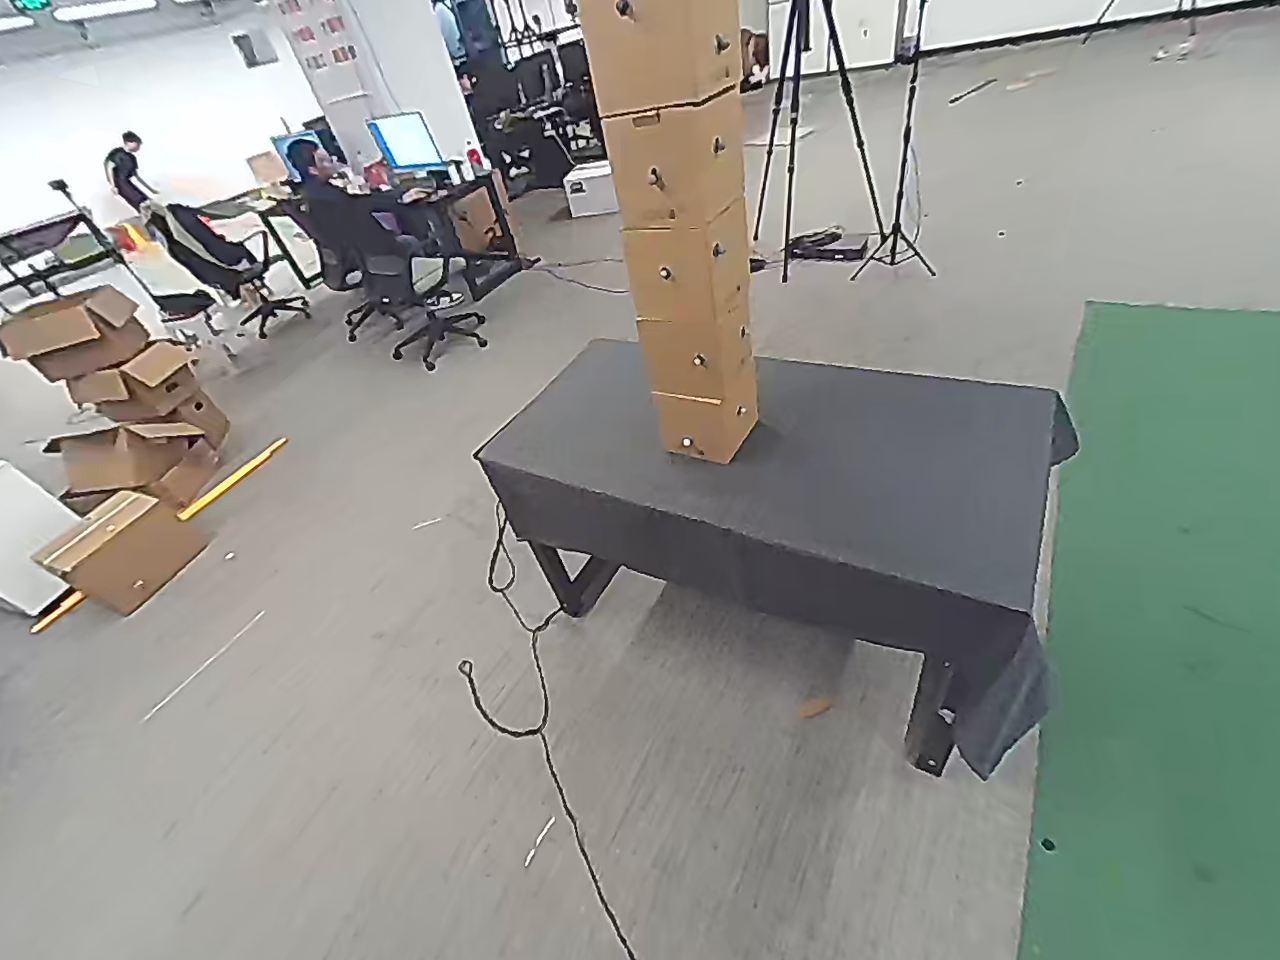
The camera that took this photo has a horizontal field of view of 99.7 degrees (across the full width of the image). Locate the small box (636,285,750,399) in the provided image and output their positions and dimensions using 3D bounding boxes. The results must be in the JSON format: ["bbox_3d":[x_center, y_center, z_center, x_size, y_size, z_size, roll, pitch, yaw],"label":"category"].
[{"bbox_3d":[0.118,-0.285,1.117,0.179,0.176,0.168,13,47,29],"label":"small box"}]

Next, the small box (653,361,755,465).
[{"bbox_3d":[0.151,-0.162,1.219,0.168,0.176,0.179,15,49,30],"label":"small box"}]

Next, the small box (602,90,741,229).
[{"bbox_3d":[0.065,-0.540,0.920,0.168,0.176,0.179,14,47,29],"label":"small box"}]

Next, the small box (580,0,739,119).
[{"bbox_3d":[0.035,-0.661,0.810,0.179,0.176,0.168,14,47,30],"label":"small box"}]
